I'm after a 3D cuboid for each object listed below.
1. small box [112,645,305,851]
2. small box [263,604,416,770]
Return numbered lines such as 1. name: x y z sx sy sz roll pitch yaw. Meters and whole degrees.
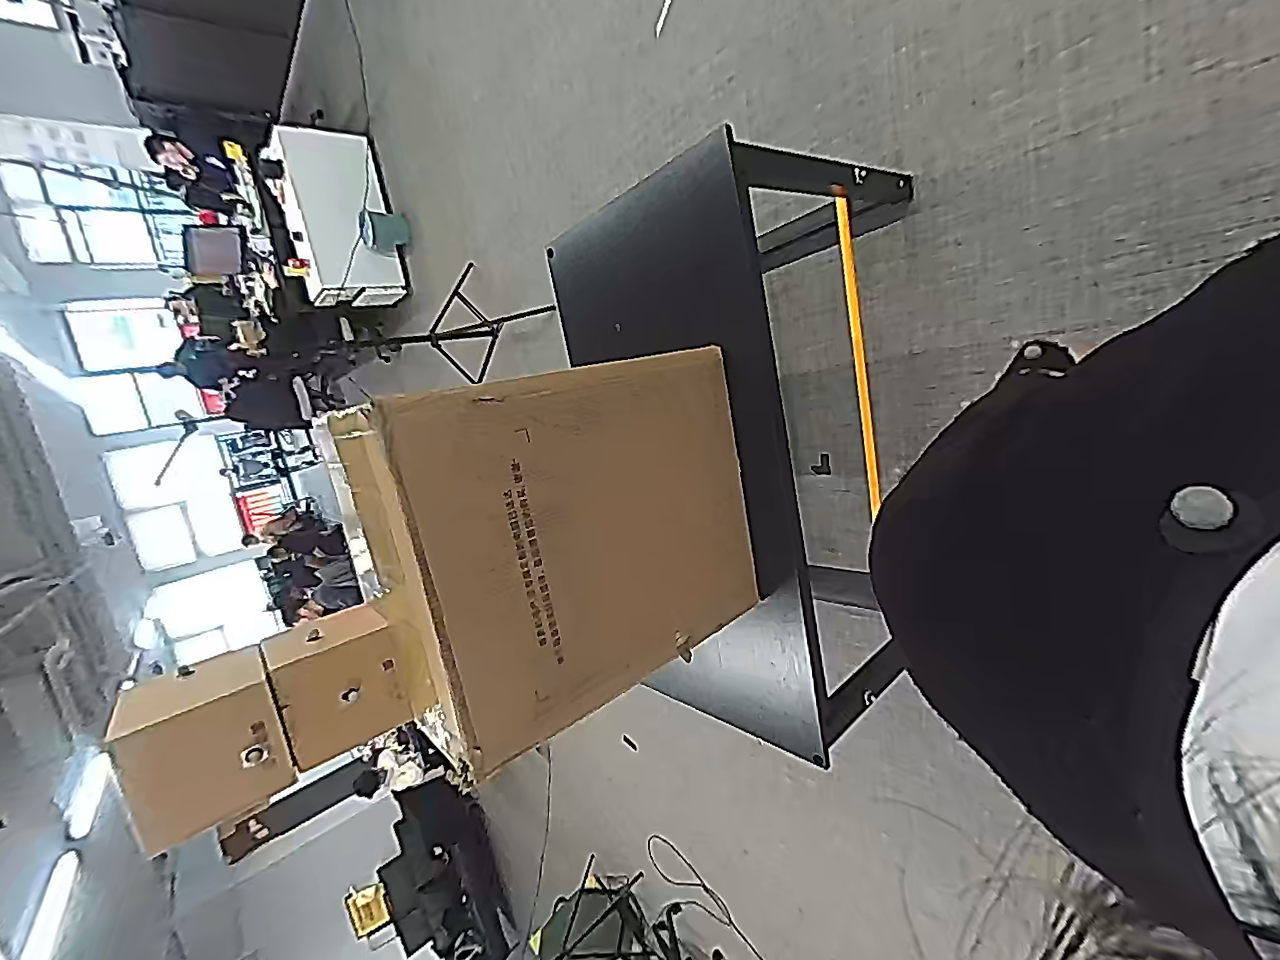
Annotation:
1. small box: -0.594 0.355 0.762 0.179 0.176 0.168 4 109 51
2. small box: -0.479 0.317 0.873 0.179 0.176 0.168 2 105 51
